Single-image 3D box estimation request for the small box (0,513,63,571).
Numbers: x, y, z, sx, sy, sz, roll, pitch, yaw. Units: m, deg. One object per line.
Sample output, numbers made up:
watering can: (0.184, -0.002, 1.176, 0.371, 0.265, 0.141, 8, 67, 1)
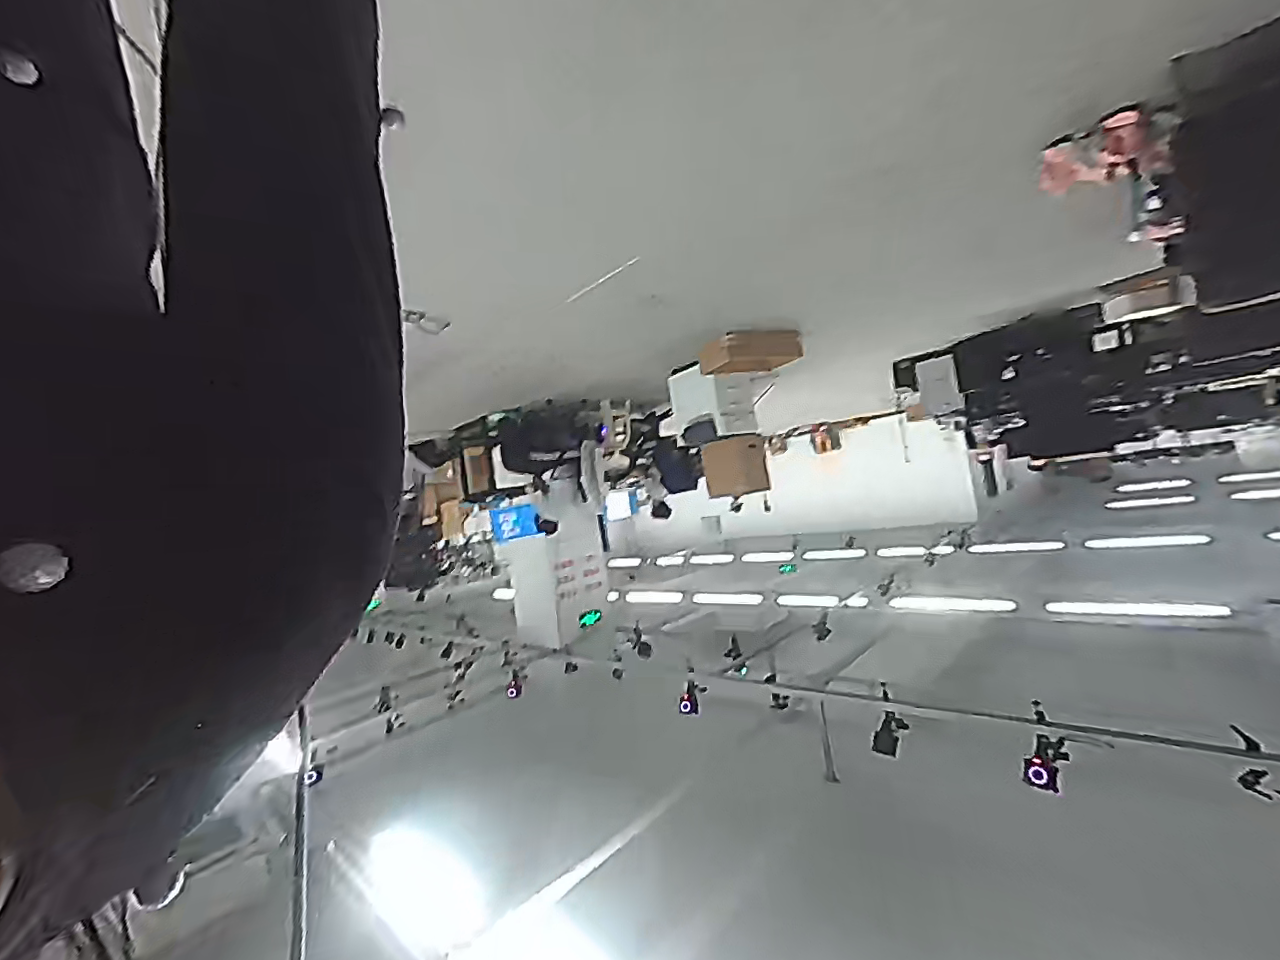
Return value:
small box: (-2.082, 0.208, 1.820, 0.179, 0.176, 0.168, -9, 180, 42)
